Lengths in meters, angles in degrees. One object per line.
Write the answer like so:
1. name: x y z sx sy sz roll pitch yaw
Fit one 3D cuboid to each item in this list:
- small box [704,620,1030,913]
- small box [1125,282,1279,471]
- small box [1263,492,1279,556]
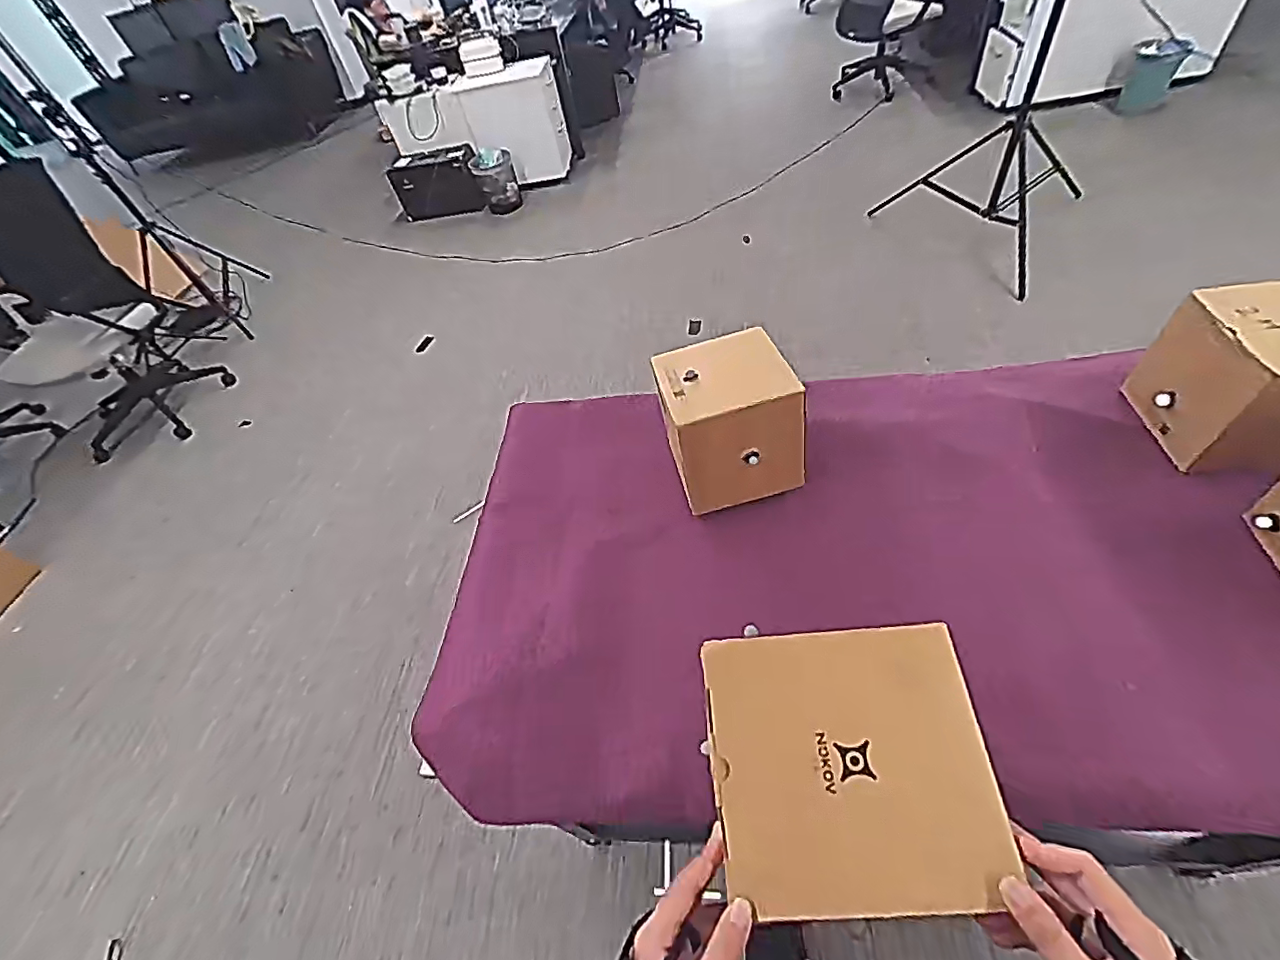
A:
1. small box: 0.146 0.215 0.424 0.179 0.176 0.168 -7 62 6
2. small box: 0.782 -0.126 0.678 0.179 0.176 0.168 -4 51 9
3. small box: 0.788 0.054 0.526 0.179 0.176 0.168 1 50 13
